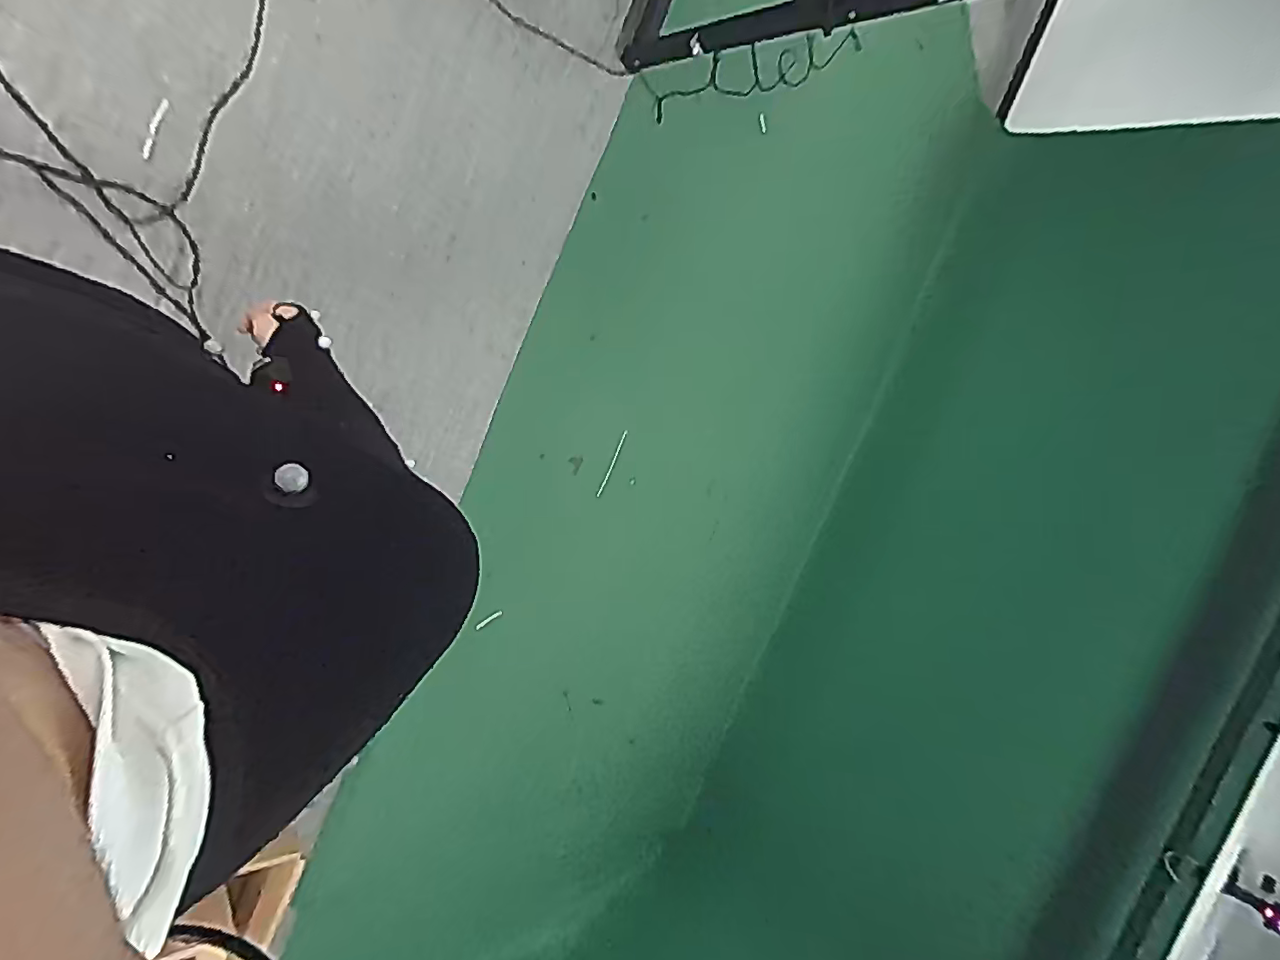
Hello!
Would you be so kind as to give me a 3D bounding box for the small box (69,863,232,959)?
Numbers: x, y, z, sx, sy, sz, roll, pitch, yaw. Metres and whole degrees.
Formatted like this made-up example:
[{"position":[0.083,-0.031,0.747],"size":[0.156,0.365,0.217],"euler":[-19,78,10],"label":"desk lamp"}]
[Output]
[{"position":[-0.827,0.801,0.907],"size":[0.168,0.176,0.179],"euler":[22,95,-51],"label":"small box"}]
